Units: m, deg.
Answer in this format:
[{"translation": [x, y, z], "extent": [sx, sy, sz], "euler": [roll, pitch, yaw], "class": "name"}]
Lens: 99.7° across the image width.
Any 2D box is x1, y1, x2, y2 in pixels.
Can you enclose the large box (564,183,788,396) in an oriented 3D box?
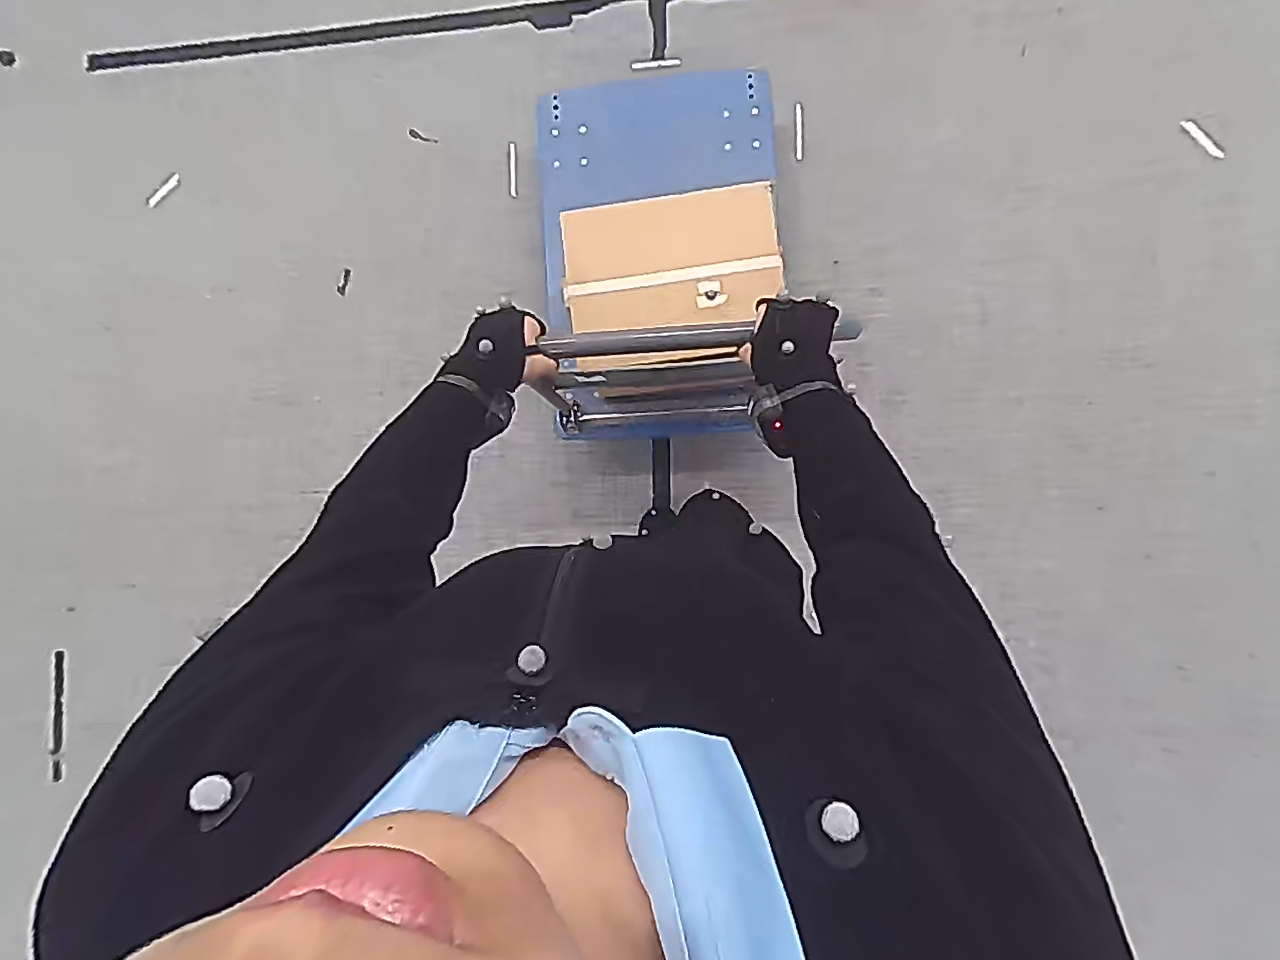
[{"translation": [0.073, -0.386, 1.183], "extent": [0.408, 0.320, 0.320], "euler": [-7, 89, 3], "class": "large box"}]
